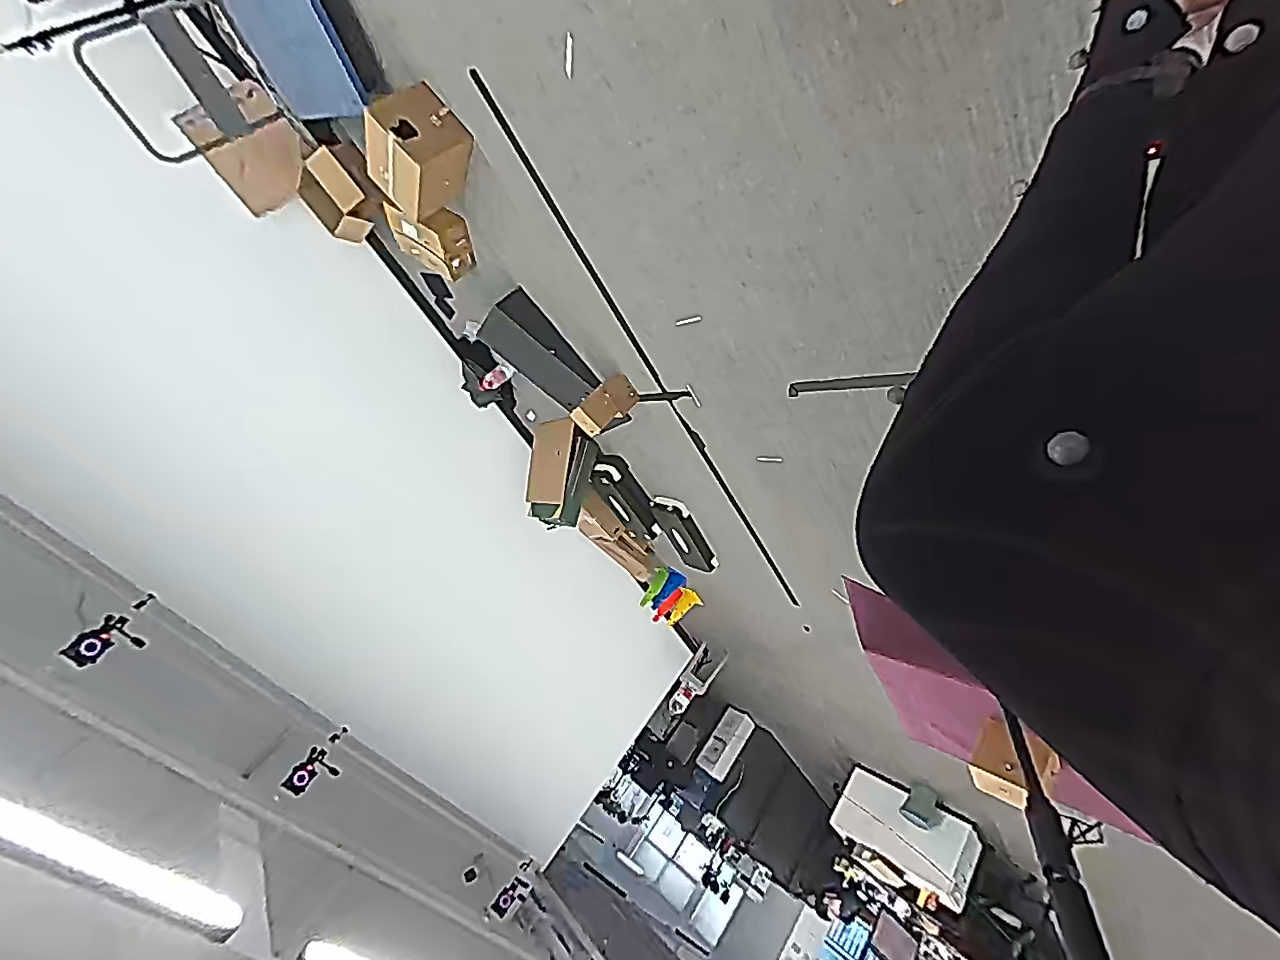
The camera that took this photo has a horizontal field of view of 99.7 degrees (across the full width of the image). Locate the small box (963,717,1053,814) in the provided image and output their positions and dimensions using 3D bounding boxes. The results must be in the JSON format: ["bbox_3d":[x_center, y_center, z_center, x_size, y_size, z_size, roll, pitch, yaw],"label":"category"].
[{"bbox_3d":[1.101,0.841,1.614,0.179,0.176,0.168,9,140,49],"label":"small box"}]
